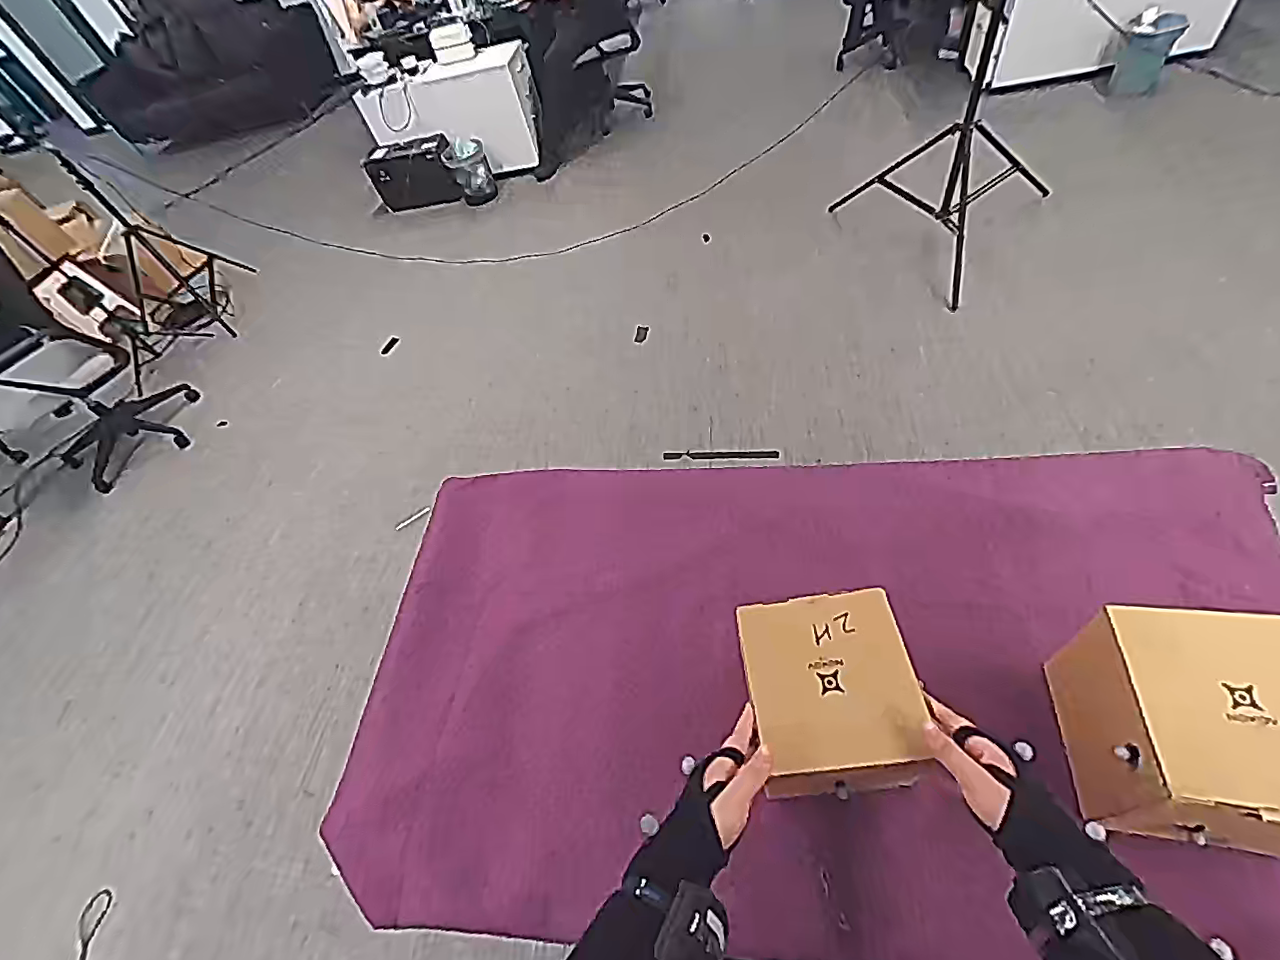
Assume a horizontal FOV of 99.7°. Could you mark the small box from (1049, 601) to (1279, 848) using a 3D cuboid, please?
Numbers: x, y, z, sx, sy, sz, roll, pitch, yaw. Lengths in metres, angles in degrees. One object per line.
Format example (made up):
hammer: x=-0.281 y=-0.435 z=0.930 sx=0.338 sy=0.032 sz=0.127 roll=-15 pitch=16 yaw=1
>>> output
small box: x=0.546 y=0.242 z=0.537 sx=0.168 sy=0.176 sz=0.179 roll=1 pitch=53 yaw=15

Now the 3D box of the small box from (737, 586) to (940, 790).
small box: x=0.211 y=0.245 z=0.619 sx=0.168 sy=0.176 sz=0.179 roll=-9 pitch=52 yaw=7
